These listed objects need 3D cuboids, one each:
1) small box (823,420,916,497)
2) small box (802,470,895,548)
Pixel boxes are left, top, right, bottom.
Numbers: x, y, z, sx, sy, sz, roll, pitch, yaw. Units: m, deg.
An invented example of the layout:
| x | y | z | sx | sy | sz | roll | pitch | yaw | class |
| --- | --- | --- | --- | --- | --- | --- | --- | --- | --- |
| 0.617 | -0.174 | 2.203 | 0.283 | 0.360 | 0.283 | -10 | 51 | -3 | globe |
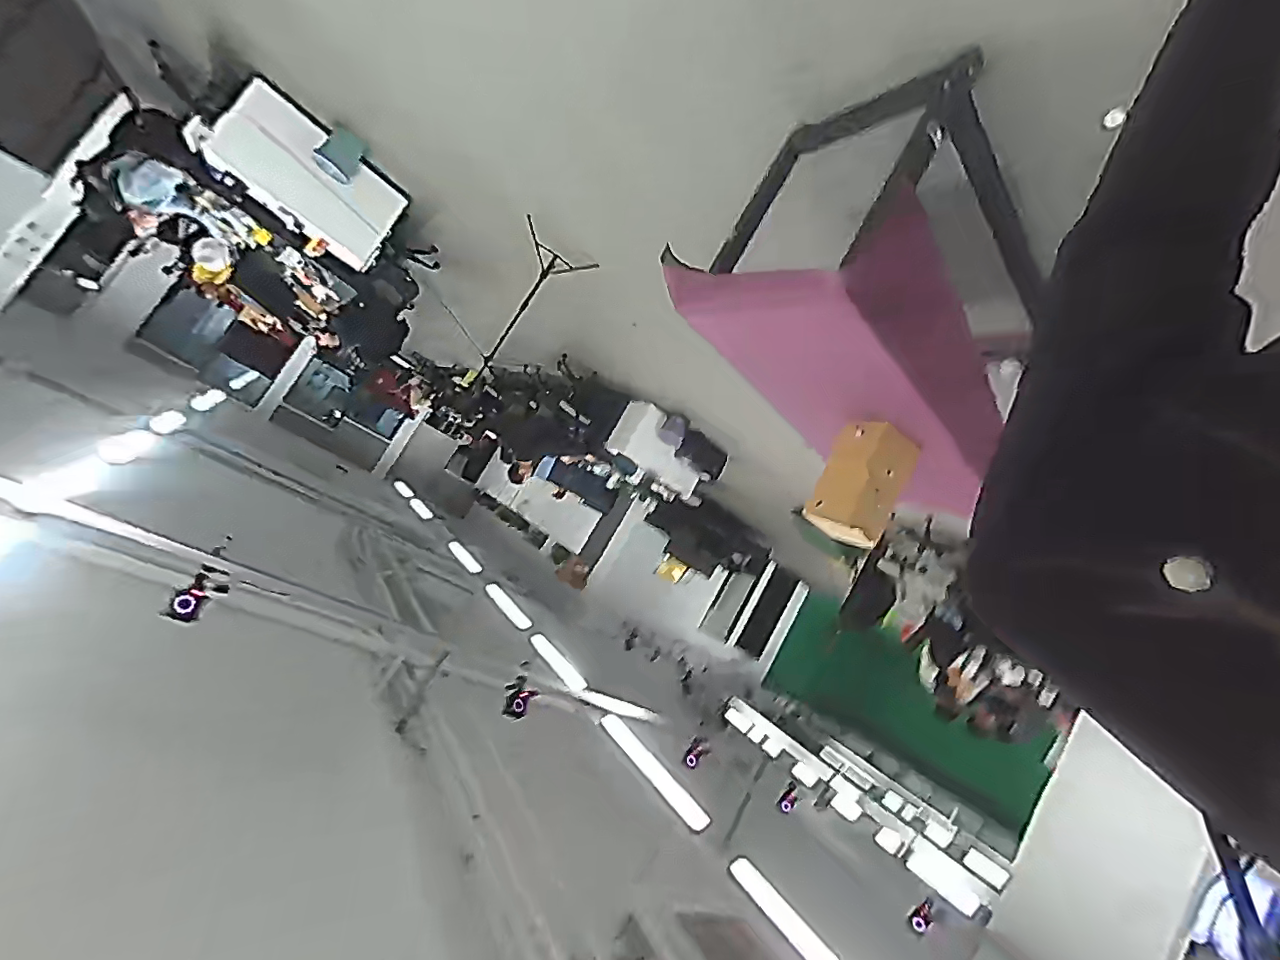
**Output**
| x | y | z | sx | sy | sz | roll | pitch | yaw | class |
| --- | --- | --- | --- | --- | --- | --- | --- | --- | --- |
| 0.715 | -0.069 | 1.678 | 0.179 | 0.176 | 0.168 | 34 | 172 | -24 | small box |
| 0.646 | 0.082 | 1.674 | 0.168 | 0.176 | 0.179 | 33 | 172 | -29 | small box |
